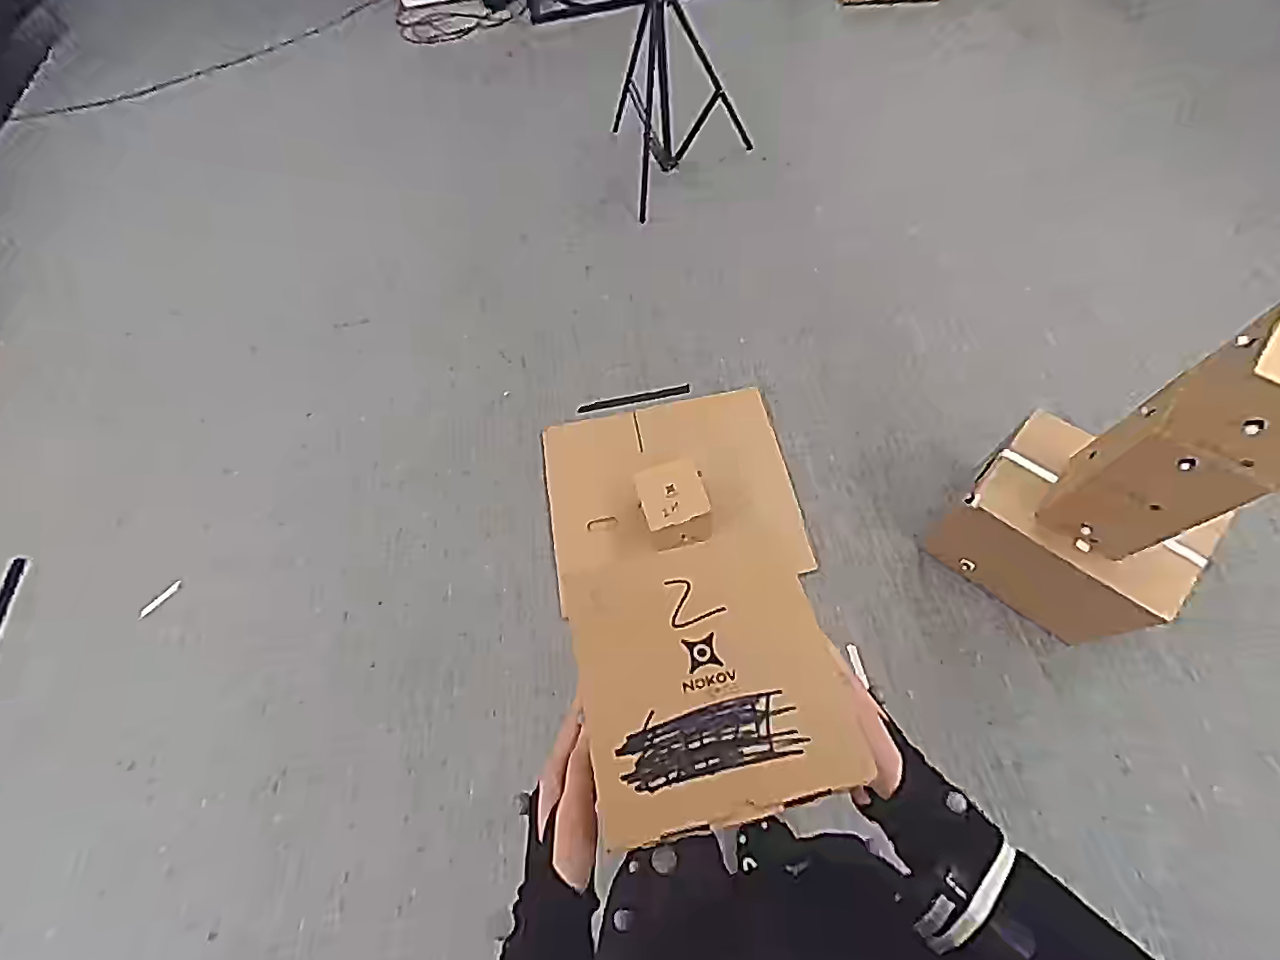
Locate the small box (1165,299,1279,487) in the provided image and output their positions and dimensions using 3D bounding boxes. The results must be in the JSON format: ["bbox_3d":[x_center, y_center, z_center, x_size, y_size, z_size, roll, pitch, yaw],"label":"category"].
[{"bbox_3d":[0.905,-0.120,0.759,0.168,0.176,0.179,36,73,21],"label":"small box"}]

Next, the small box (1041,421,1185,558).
[{"bbox_3d":[0.935,0.020,1.053,0.168,0.176,0.179,36,74,21],"label":"small box"}]

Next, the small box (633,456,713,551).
[{"bbox_3d":[0.090,0.068,1.459,0.168,0.176,0.179,-20,64,0],"label":"small box"}]

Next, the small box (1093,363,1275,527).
[{"bbox_3d":[0.920,-0.053,0.907,0.168,0.176,0.179,37,73,21],"label":"small box"}]
